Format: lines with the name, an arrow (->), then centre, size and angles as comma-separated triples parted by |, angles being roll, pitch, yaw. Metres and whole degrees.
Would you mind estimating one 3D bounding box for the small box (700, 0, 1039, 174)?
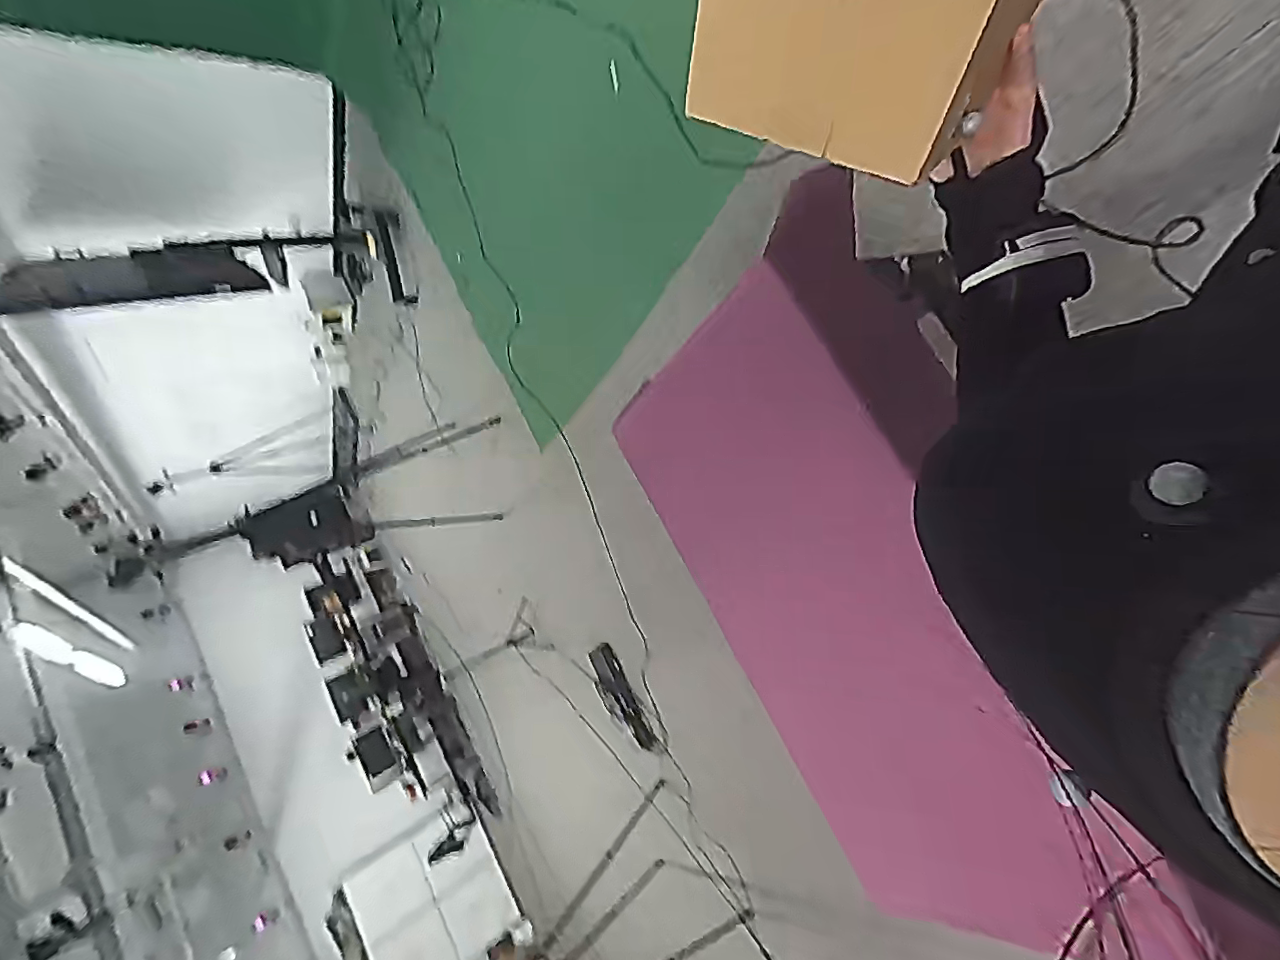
small box -> 0.164, -0.328, 0.339 | 0.168, 0.179, 0.176 | 31, 143, 18
